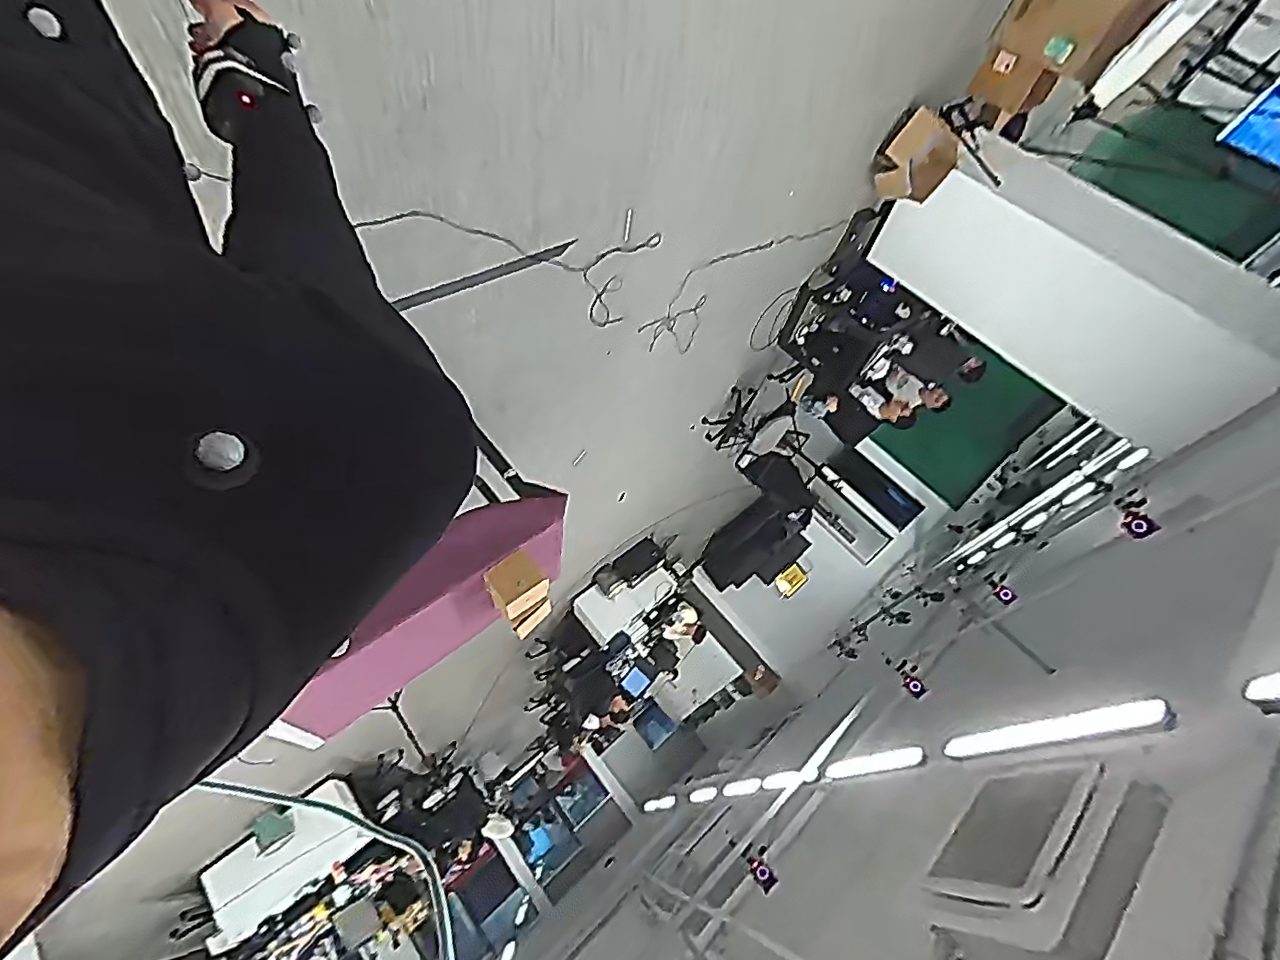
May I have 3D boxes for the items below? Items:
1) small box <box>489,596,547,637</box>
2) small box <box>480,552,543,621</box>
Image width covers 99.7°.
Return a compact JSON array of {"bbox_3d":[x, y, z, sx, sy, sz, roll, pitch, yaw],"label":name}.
[{"bbox_3d":[-0.518,0.531,2.308,0.179,0.176,0.168,-35,158,-24],"label":"small box"},{"bbox_3d":[-0.497,0.408,2.101,0.179,0.176,0.168,-34,158,-26],"label":"small box"}]
